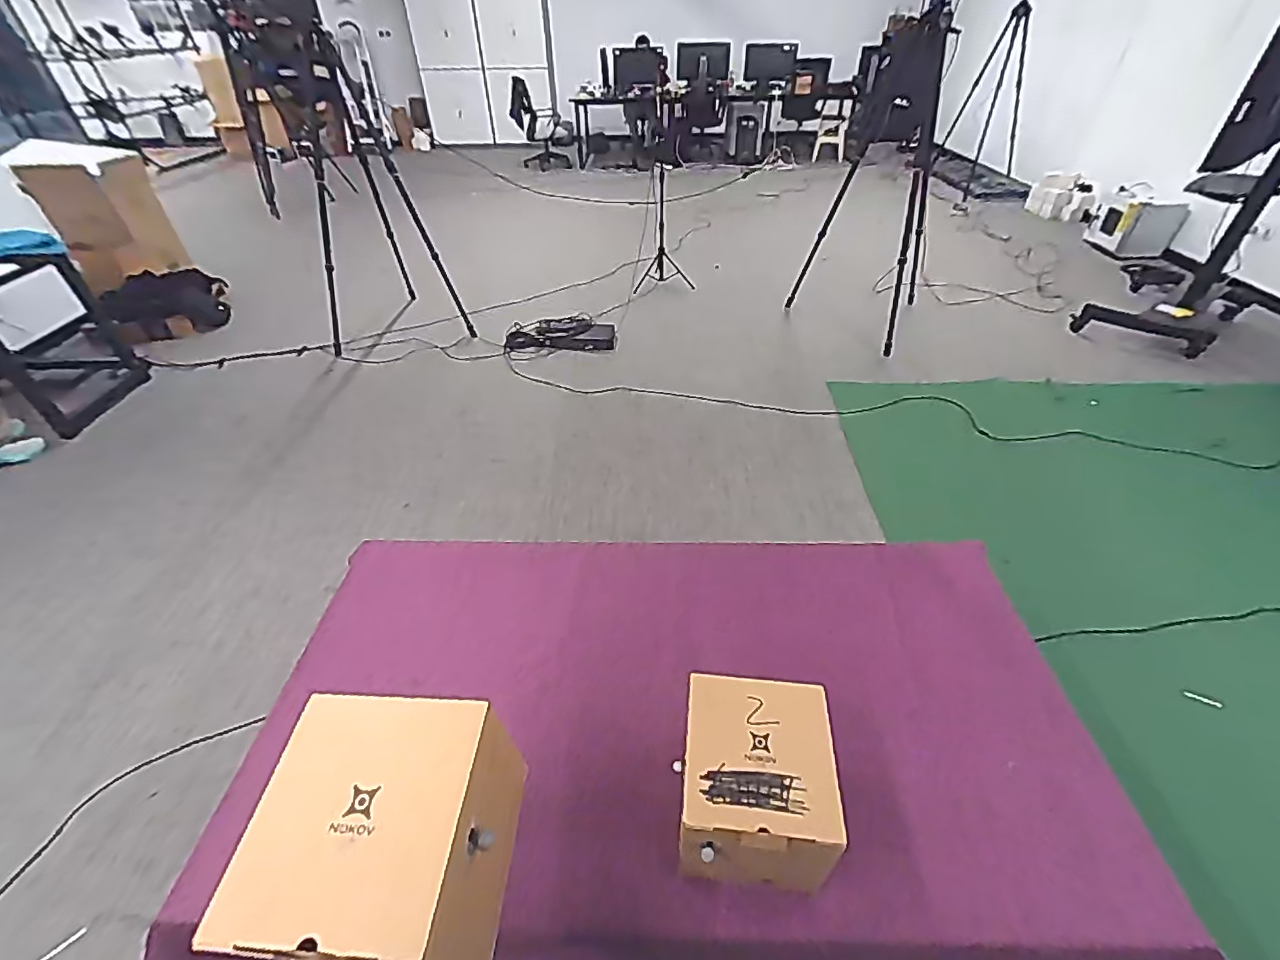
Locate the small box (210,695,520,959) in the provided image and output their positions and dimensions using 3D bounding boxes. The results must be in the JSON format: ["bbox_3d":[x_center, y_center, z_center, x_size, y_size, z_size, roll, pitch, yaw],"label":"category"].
[{"bbox_3d":[-0.216,0.318,0.490,0.168,0.176,0.179,1,47,5],"label":"small box"}]
